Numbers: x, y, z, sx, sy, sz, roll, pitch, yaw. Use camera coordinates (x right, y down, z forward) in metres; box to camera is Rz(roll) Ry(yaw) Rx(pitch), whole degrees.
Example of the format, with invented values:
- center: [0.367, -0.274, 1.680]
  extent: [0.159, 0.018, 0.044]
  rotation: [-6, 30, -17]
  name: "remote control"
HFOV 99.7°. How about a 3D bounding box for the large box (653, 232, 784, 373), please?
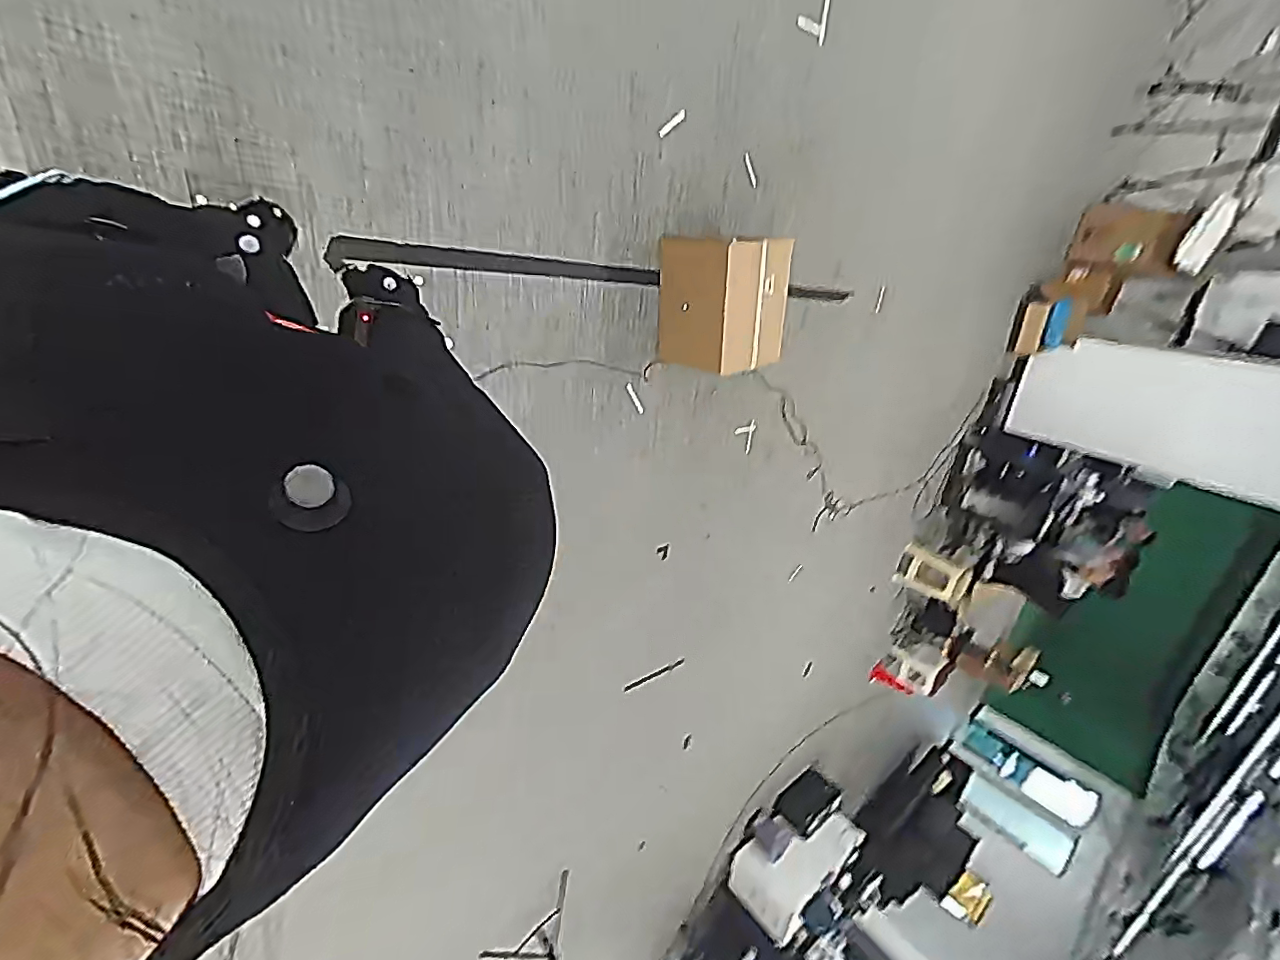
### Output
- center: [0.256, -0.613, 1.838]
  extent: [0.320, 0.320, 0.408]
  rotation: [-22, 123, -36]
  name: "large box"
